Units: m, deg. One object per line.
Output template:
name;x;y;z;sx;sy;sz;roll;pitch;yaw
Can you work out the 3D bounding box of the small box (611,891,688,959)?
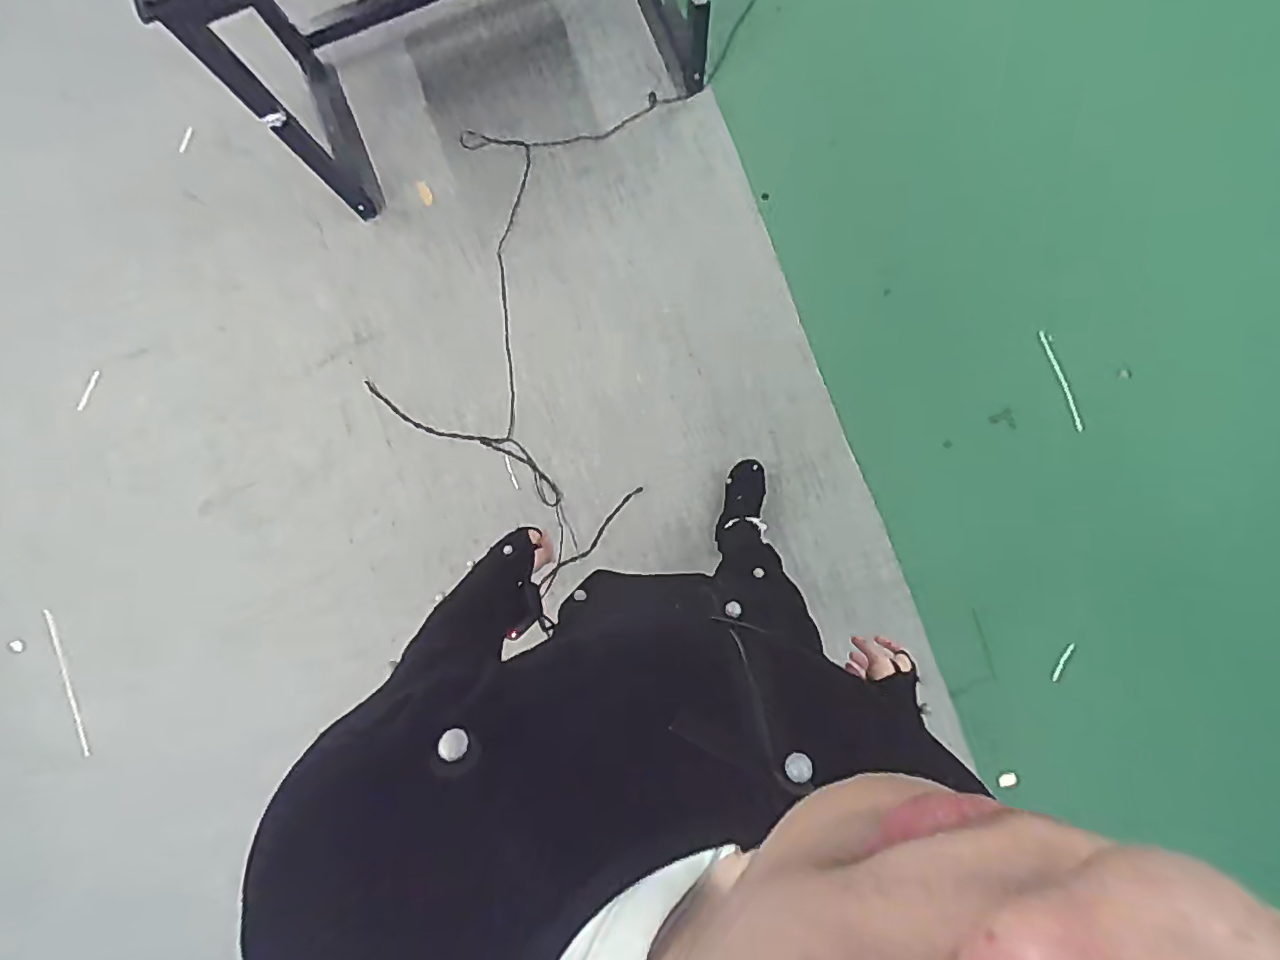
small box;0.027;1.206;1.397;0.168;0.176;0.179;-14;85;1
